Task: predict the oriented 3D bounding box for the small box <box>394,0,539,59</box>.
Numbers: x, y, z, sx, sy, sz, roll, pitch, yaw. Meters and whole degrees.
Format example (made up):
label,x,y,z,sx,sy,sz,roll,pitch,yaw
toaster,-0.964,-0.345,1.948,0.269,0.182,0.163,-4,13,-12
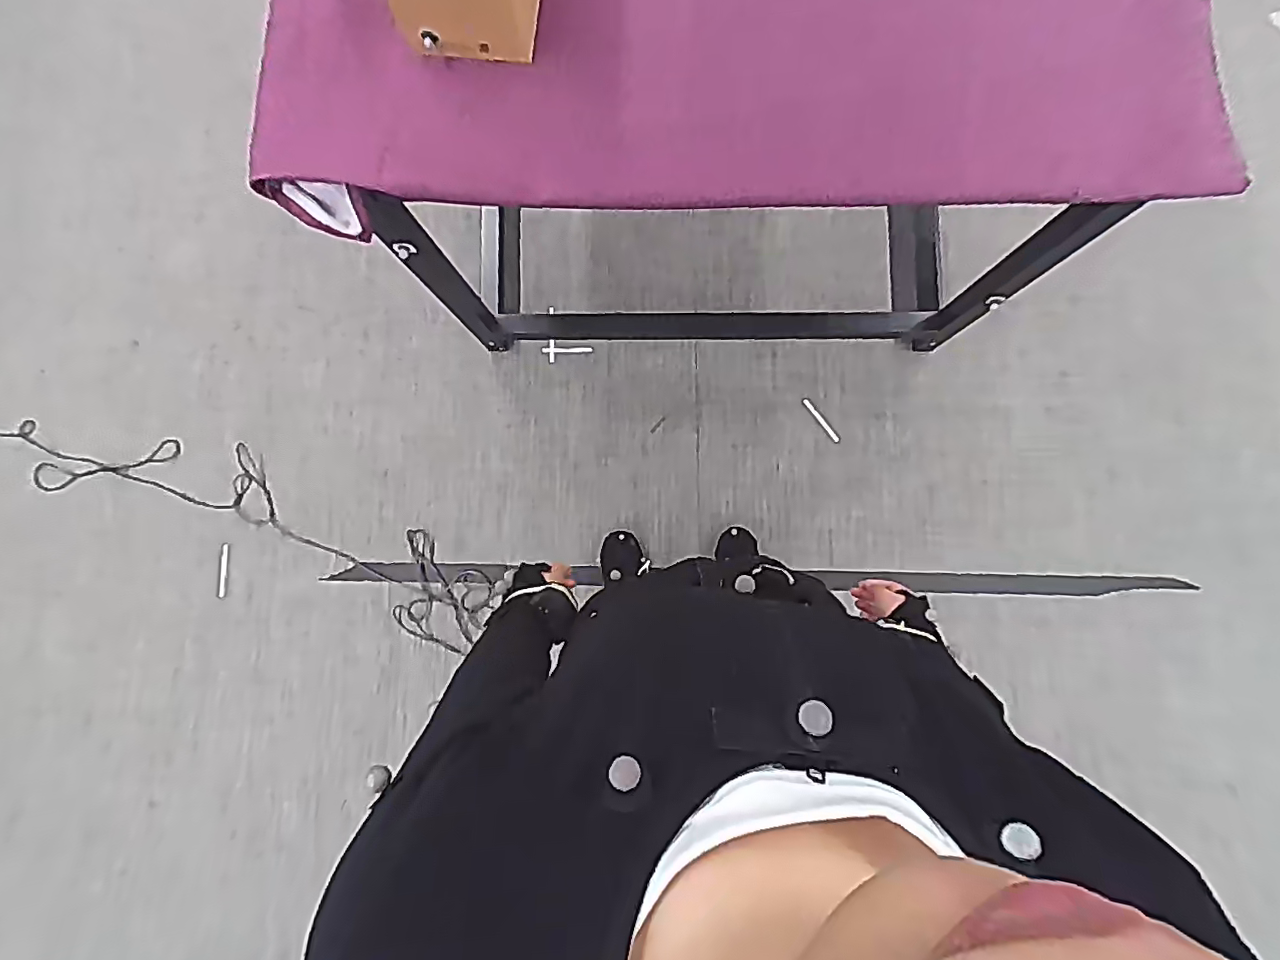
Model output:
label,x,y,z,sx,sy,sz,roll,pitch,yaw
small box,-0.224,-0.676,0.677,0.168,0.176,0.179,6,85,2
